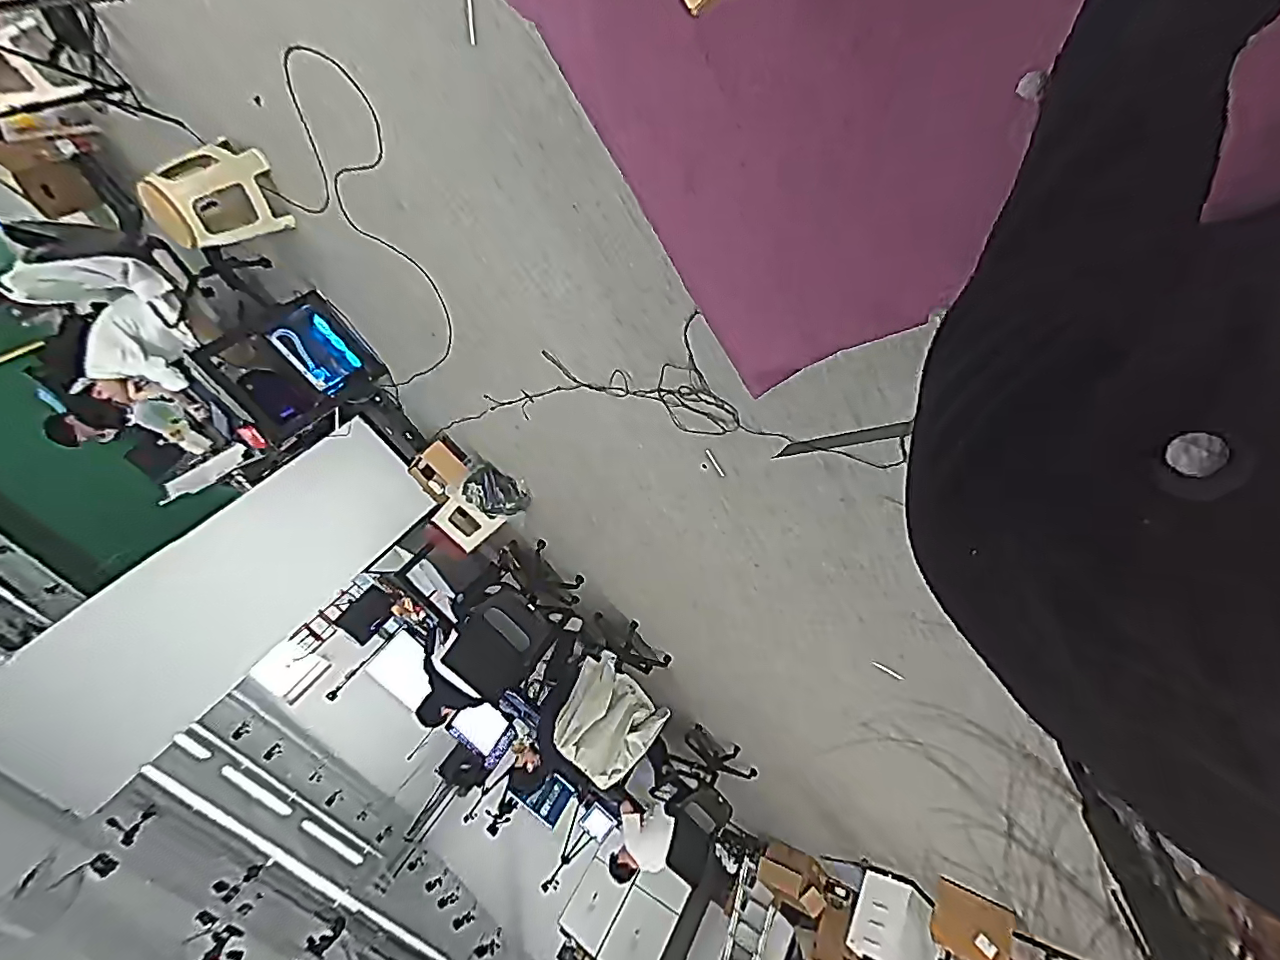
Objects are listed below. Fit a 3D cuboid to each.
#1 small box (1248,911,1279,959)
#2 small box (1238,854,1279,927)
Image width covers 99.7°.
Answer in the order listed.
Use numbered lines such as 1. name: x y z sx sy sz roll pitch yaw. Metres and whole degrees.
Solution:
1. small box: 1.756 1.307 1.436 0.168 0.176 0.179 -10 121 49
2. small box: 1.844 1.210 1.533 0.179 0.176 0.168 -11 121 50
